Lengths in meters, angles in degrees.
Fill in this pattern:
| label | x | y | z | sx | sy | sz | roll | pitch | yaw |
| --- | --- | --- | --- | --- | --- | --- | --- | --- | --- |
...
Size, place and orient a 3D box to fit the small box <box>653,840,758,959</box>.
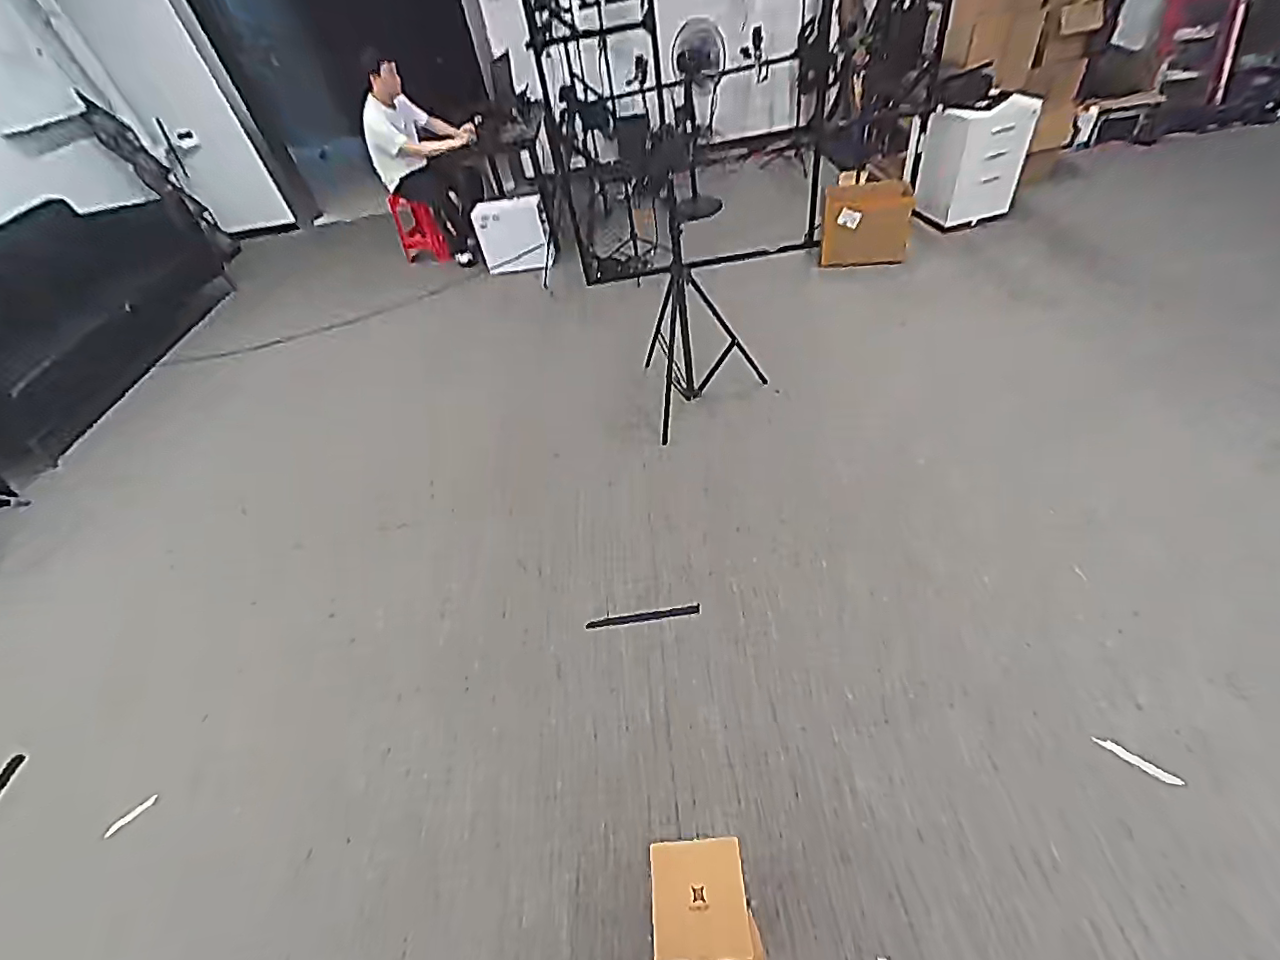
| label | x | y | z | sx | sy | sz | roll | pitch | yaw |
| --- | --- | --- | --- | --- | --- | --- | --- | --- | --- |
| small box | 0.116 | 0.785 | 0.987 | 0.168 | 0.176 | 0.179 | -8 | 44 | 4 |
